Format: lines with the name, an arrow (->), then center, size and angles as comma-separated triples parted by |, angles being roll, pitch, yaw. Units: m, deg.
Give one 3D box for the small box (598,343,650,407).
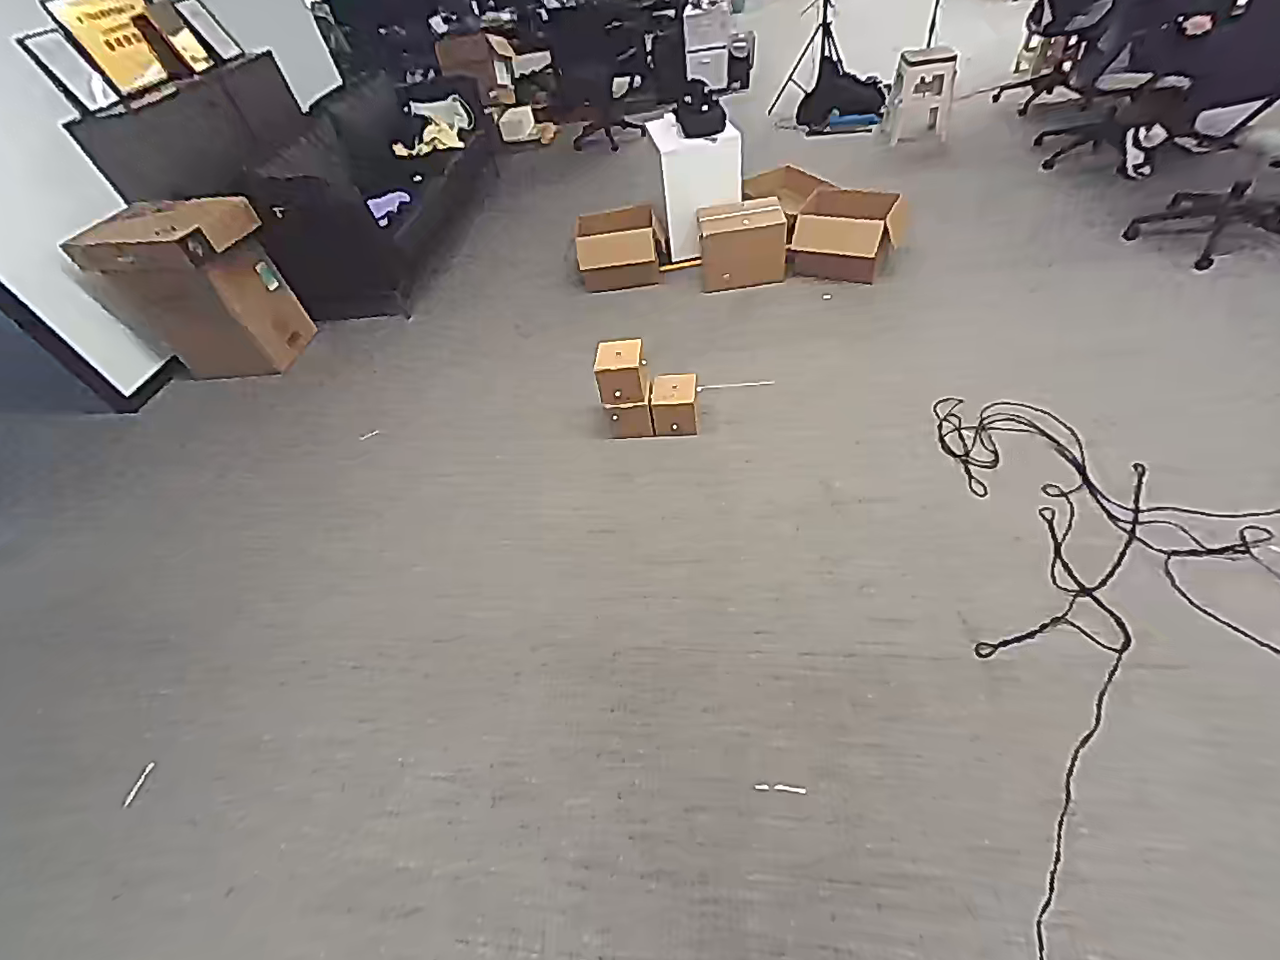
small box -> -0.056, -0.400, 2.067 | 0.168, 0.176, 0.179 | -3, 48, 9
